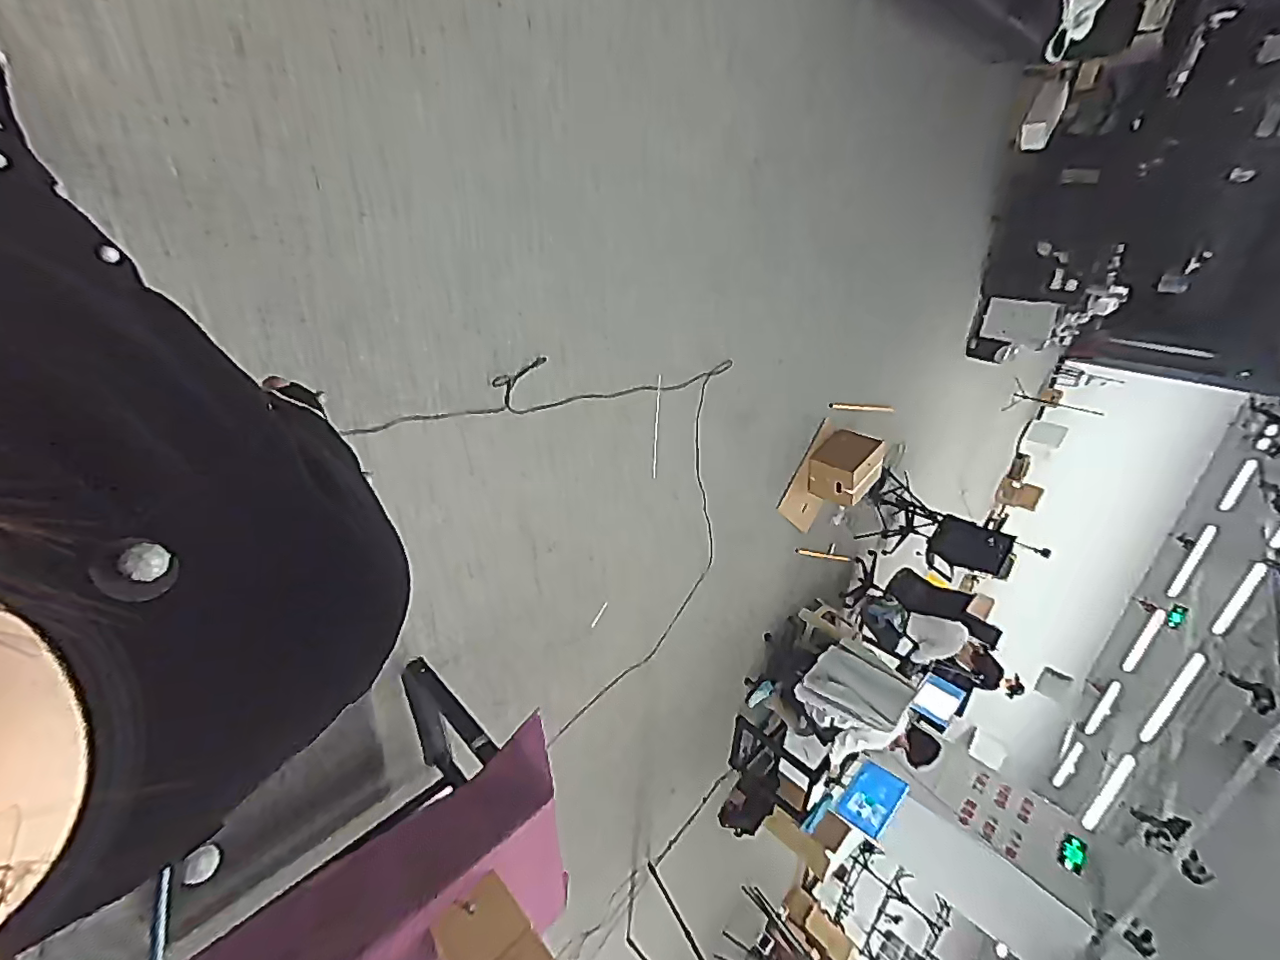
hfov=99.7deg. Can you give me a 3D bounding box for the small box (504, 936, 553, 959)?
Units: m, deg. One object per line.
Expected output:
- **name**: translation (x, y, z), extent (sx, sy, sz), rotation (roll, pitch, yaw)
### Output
- **small box**: translation (-0.254, 1.167, 1.188), extent (0.168, 0.176, 0.179), rotation (-21, 126, -40)

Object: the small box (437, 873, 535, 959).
- **small box**: translation (-0.367, 1.105, 1.289), extent (0.179, 0.176, 0.168), rotation (-22, 126, -39)
